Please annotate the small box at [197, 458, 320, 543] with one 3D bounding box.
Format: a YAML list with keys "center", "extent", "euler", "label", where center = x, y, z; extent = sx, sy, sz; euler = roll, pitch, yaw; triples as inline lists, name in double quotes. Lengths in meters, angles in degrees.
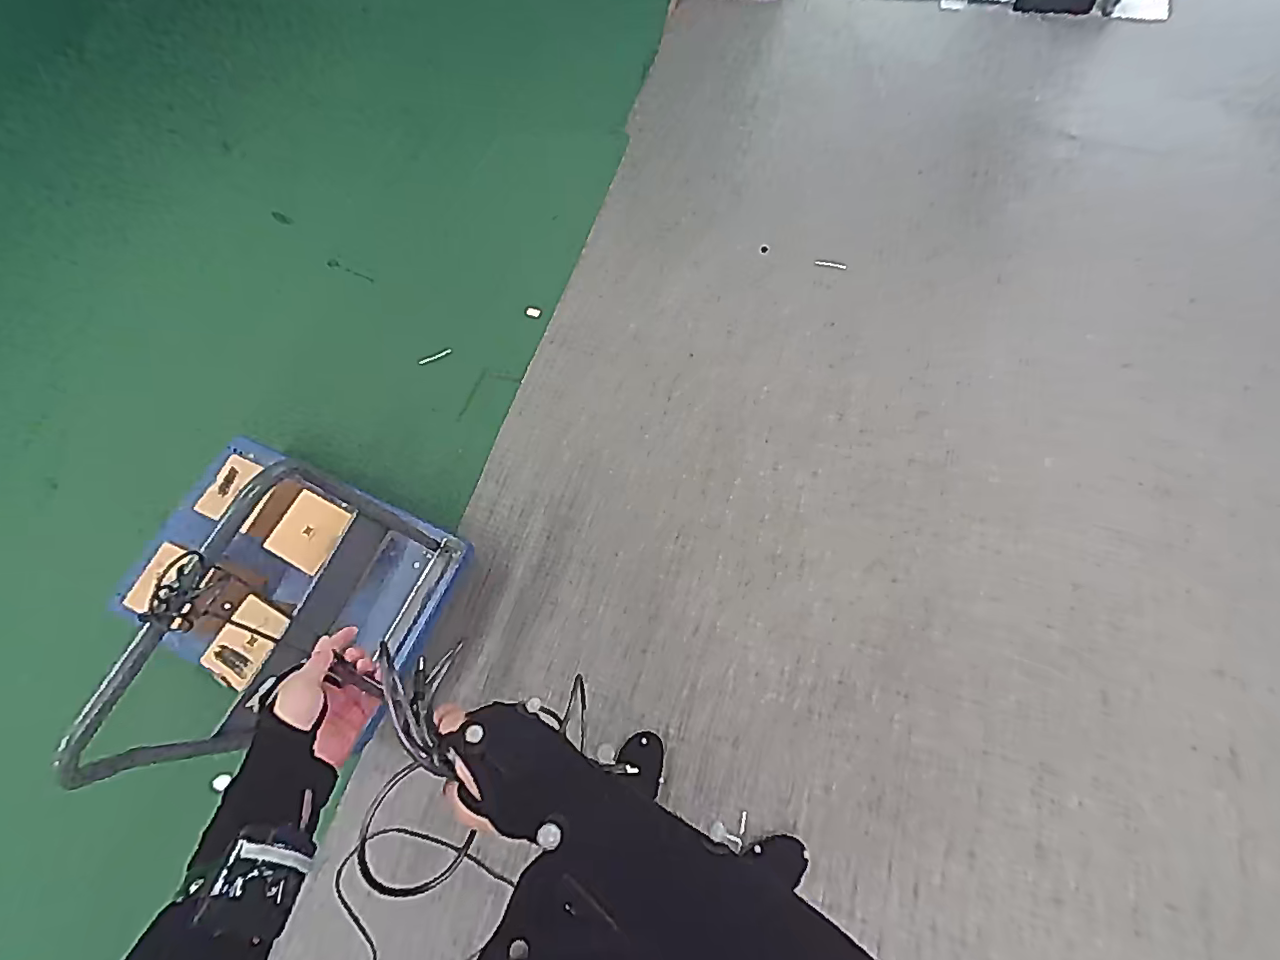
- center: [-1.006, 0.069, 1.444]
  extent: [0.179, 0.176, 0.168]
  euler: [21, 74, 13]
  label: "small box"

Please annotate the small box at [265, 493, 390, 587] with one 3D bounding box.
- center: [-0.790, 0.160, 1.384]
  extent: [0.179, 0.176, 0.168]
  euler: [24, 74, 14]
  label: "small box"

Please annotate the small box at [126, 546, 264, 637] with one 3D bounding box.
- center: [-1.115, 0.289, 1.373]
  extent: [0.179, 0.176, 0.168]
  euler: [19, 72, 13]
  label: "small box"
